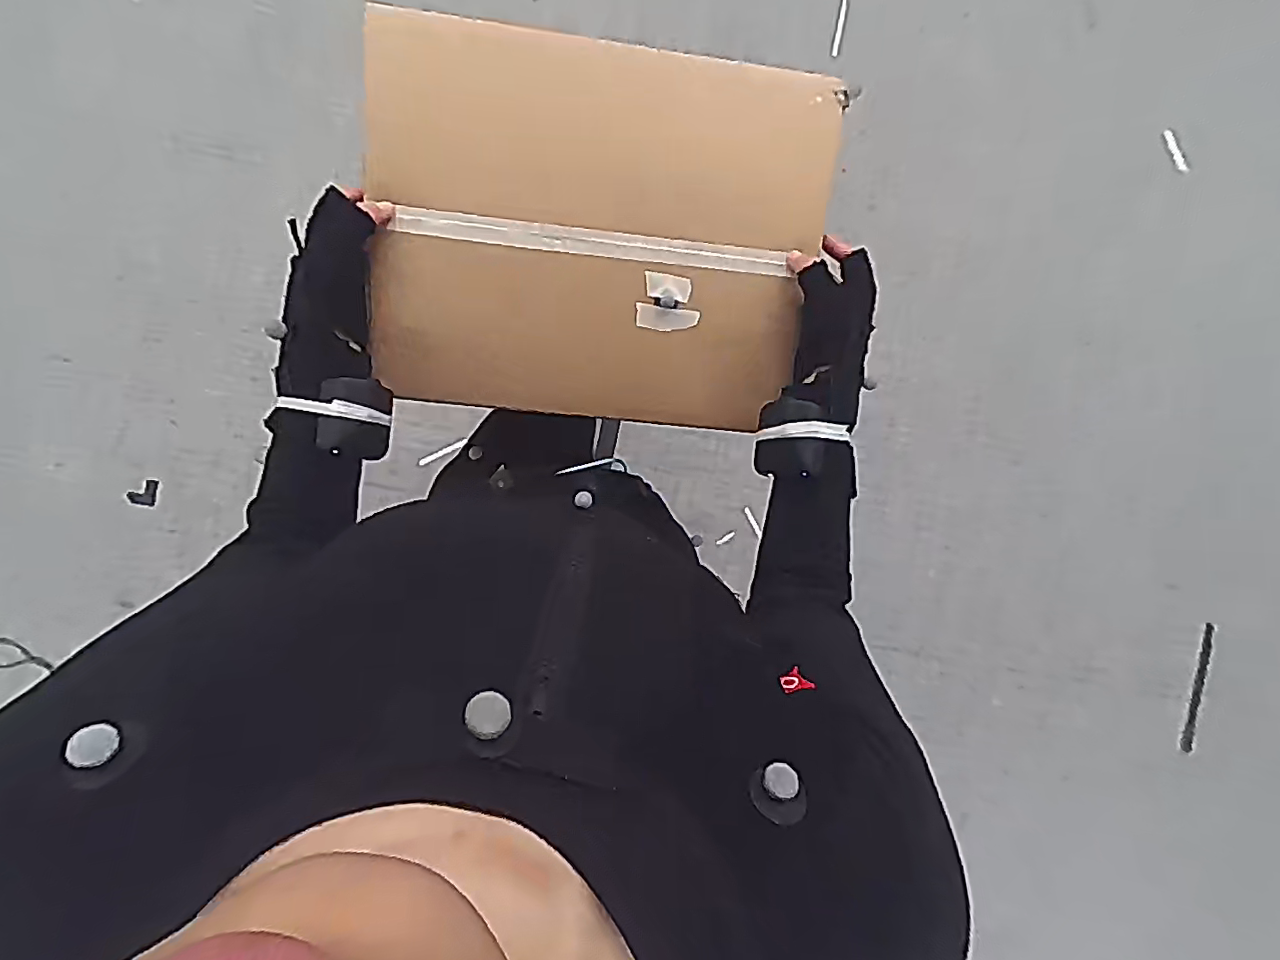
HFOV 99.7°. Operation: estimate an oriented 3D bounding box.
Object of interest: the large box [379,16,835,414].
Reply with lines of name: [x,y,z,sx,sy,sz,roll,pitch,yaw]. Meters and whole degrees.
large box: [-0.046,-0.261,0.645,0.408,0.320,0.320,4,104,-6]
